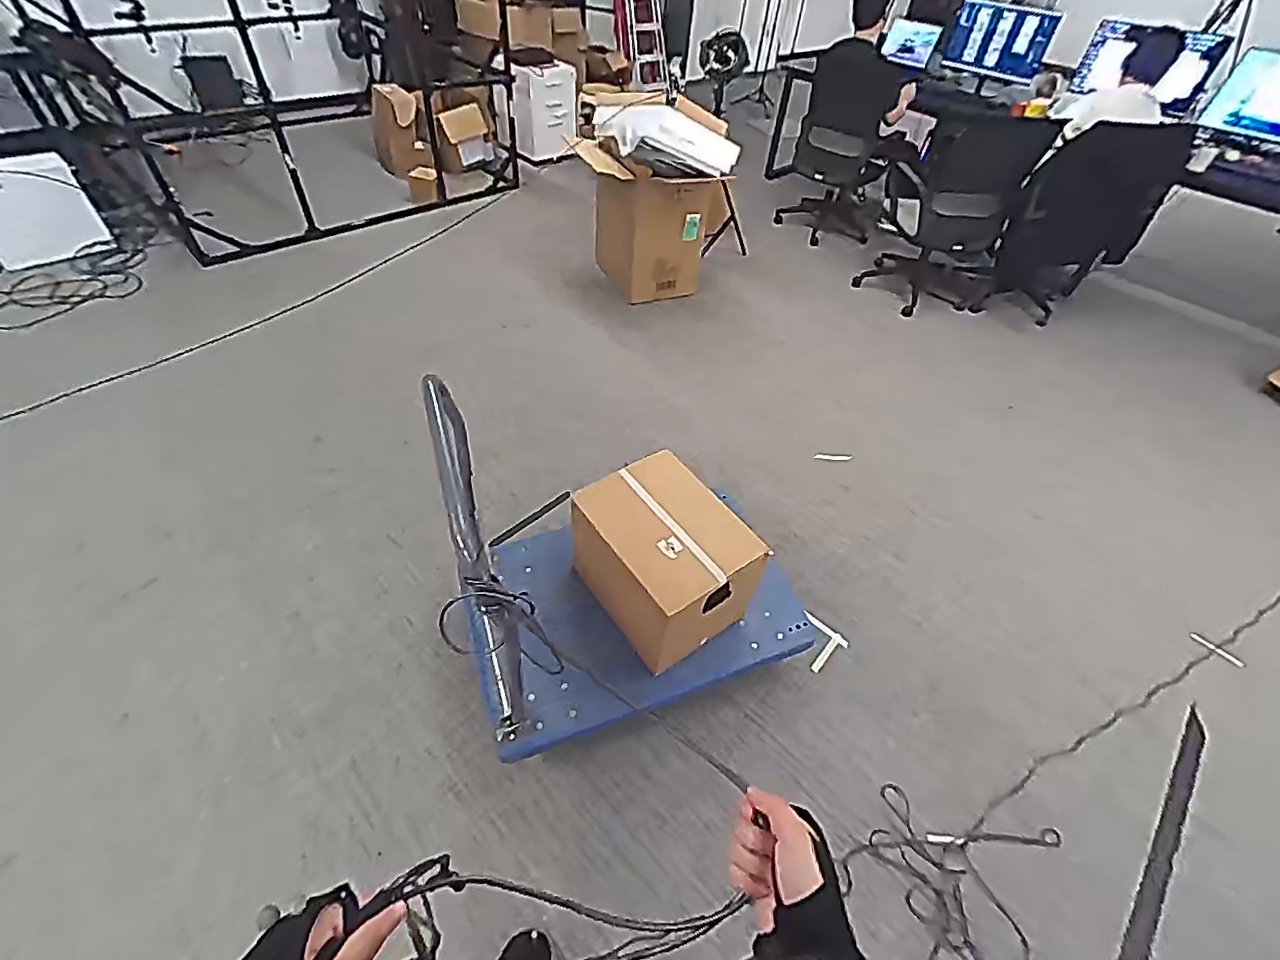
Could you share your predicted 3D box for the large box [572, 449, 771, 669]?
[{"bbox_3d":[0.055,0.196,1.404,0.320,0.320,0.408,-27,57,-25],"label":"large box"}]
